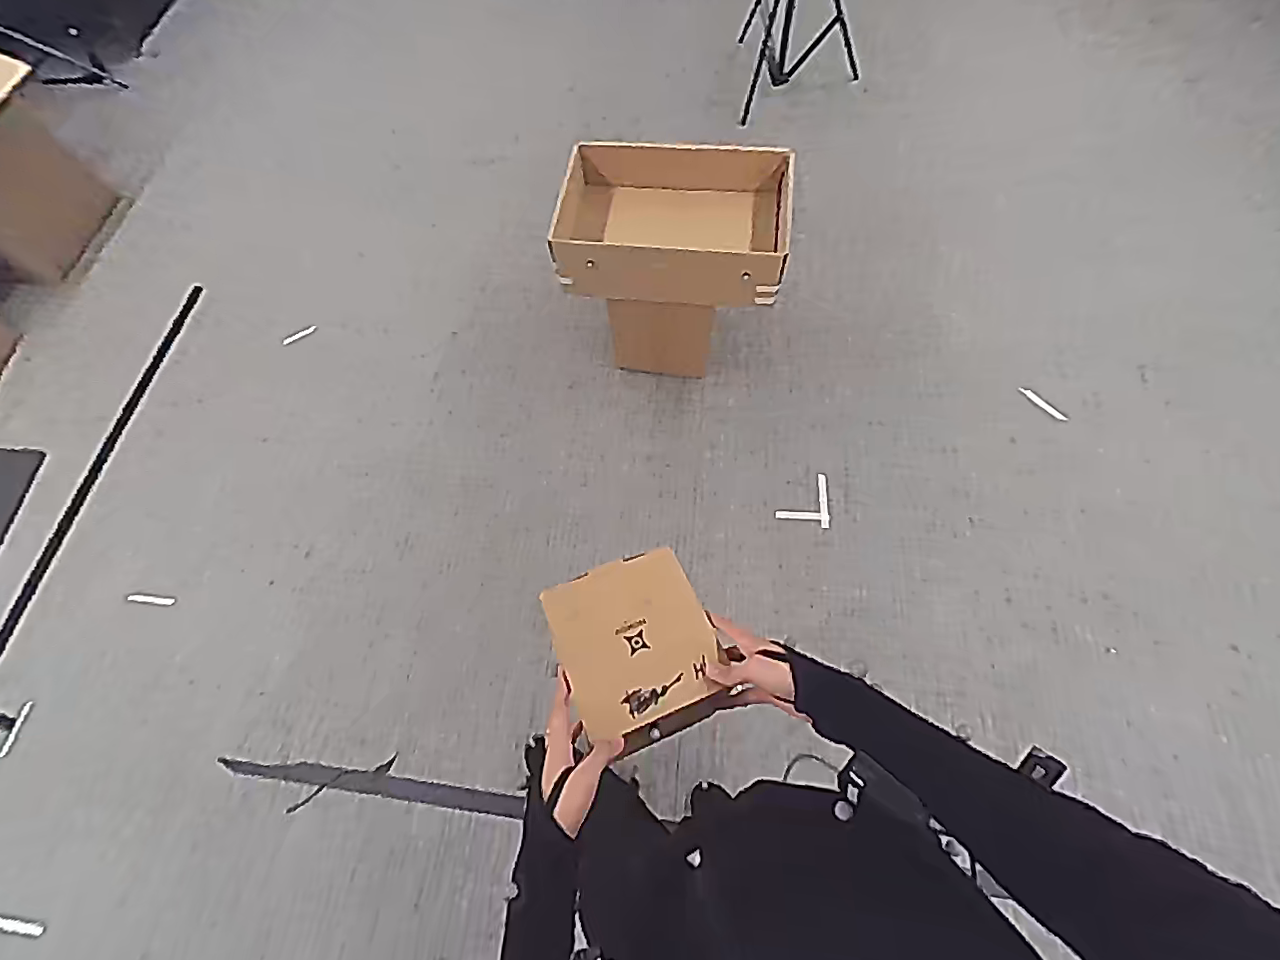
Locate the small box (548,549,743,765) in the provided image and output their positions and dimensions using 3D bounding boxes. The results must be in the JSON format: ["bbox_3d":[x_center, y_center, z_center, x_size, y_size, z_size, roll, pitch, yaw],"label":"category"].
[{"bbox_3d":[-0.004,0.215,0.648,0.168,0.176,0.179,-18,60,-14],"label":"small box"}]
